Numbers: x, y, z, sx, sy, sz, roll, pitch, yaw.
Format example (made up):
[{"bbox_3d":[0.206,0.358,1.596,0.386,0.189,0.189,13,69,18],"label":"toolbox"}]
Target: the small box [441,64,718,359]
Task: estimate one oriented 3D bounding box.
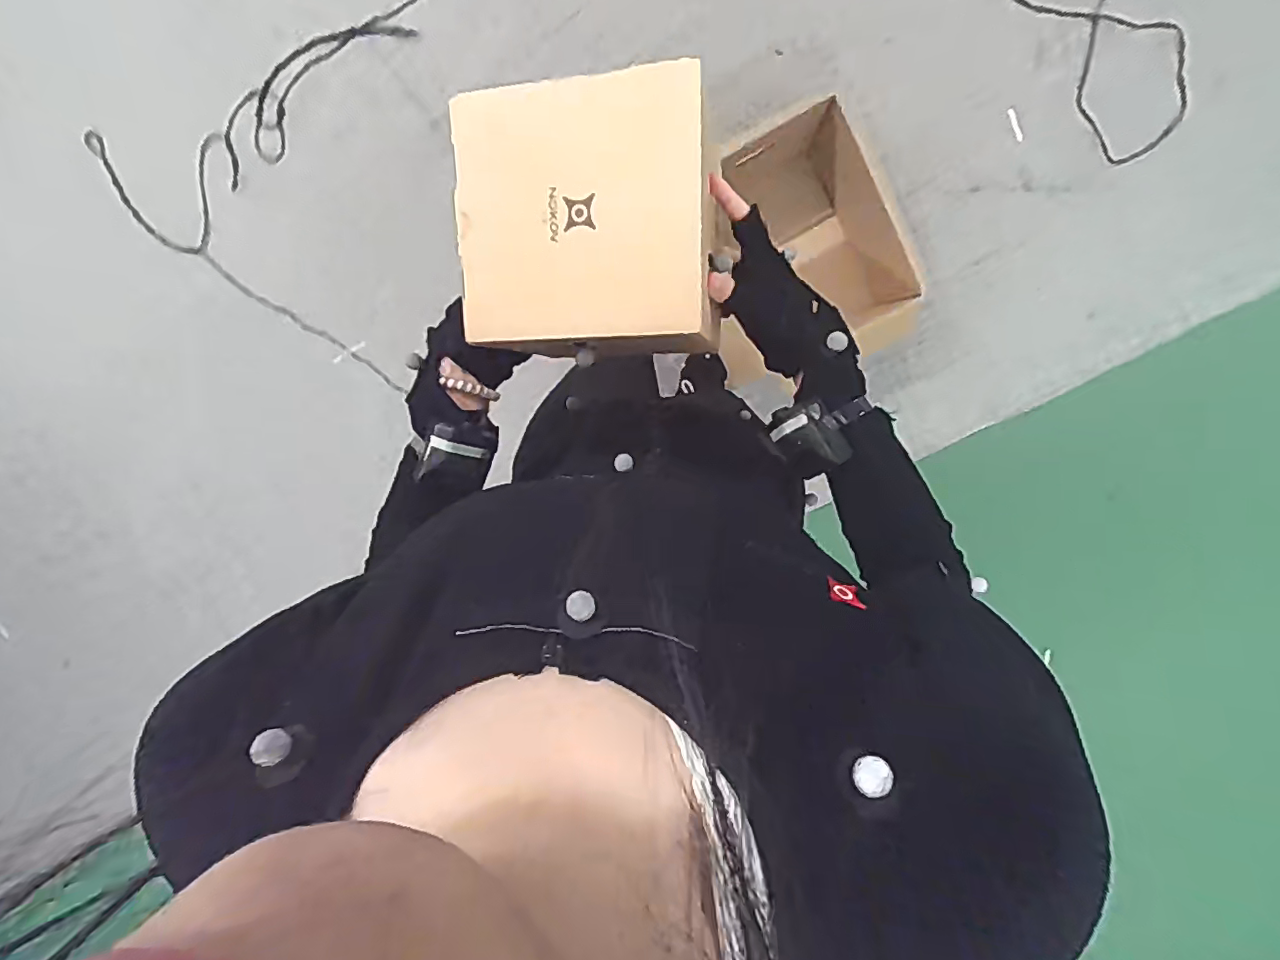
[{"bbox_3d":[-0.030,-0.187,0.436,0.179,0.176,0.168,0,100,14],"label":"small box"}]
